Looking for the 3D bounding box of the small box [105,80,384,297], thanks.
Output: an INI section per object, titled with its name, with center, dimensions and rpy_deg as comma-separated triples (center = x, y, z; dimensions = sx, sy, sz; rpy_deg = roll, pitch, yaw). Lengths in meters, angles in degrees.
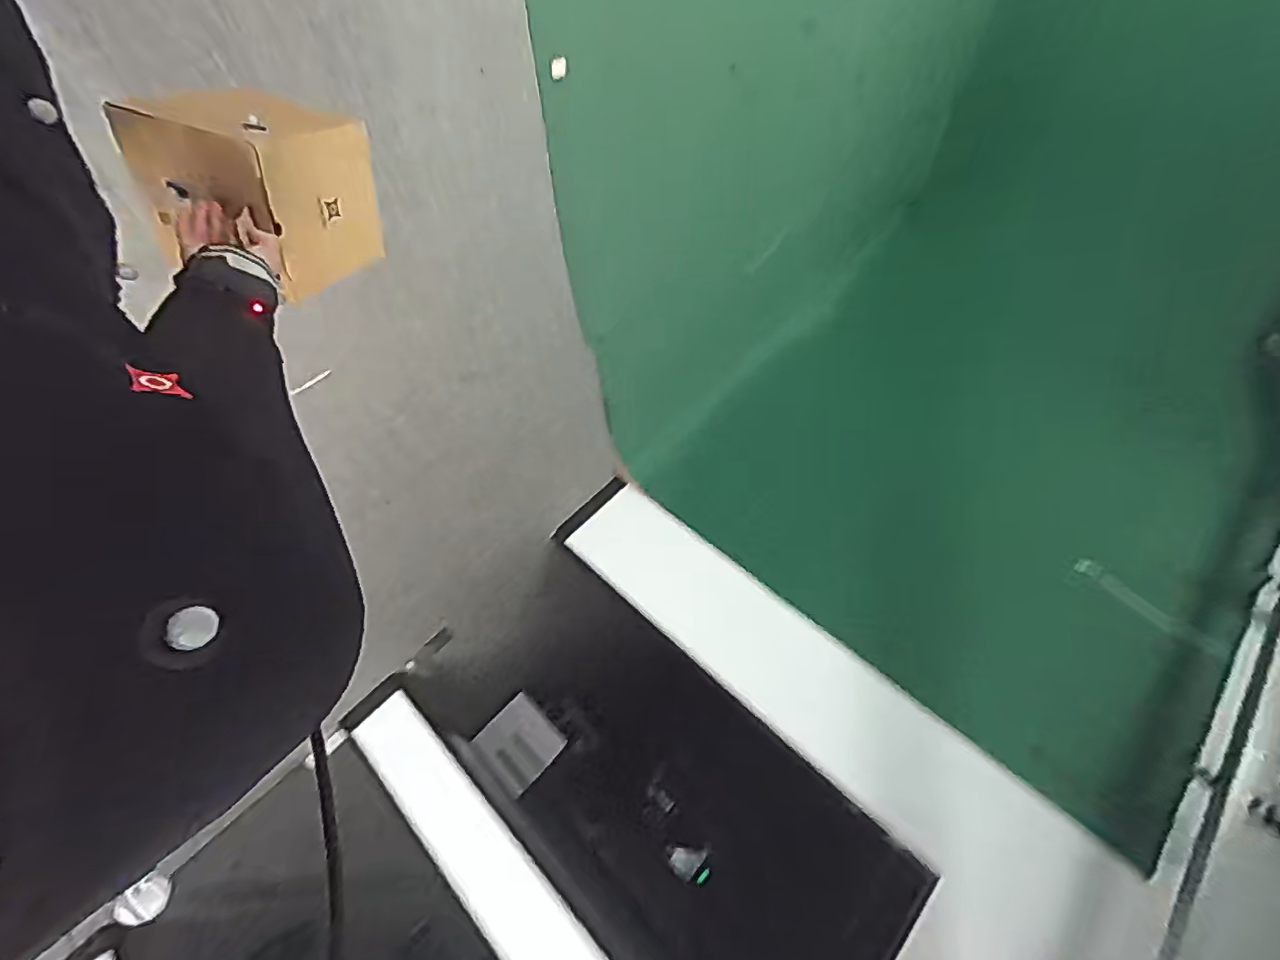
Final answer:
[small box]
center = -0.434, -0.342, 0.626
dimensions = 0.179, 0.176, 0.168
rpy_deg = -69, 173, -46
